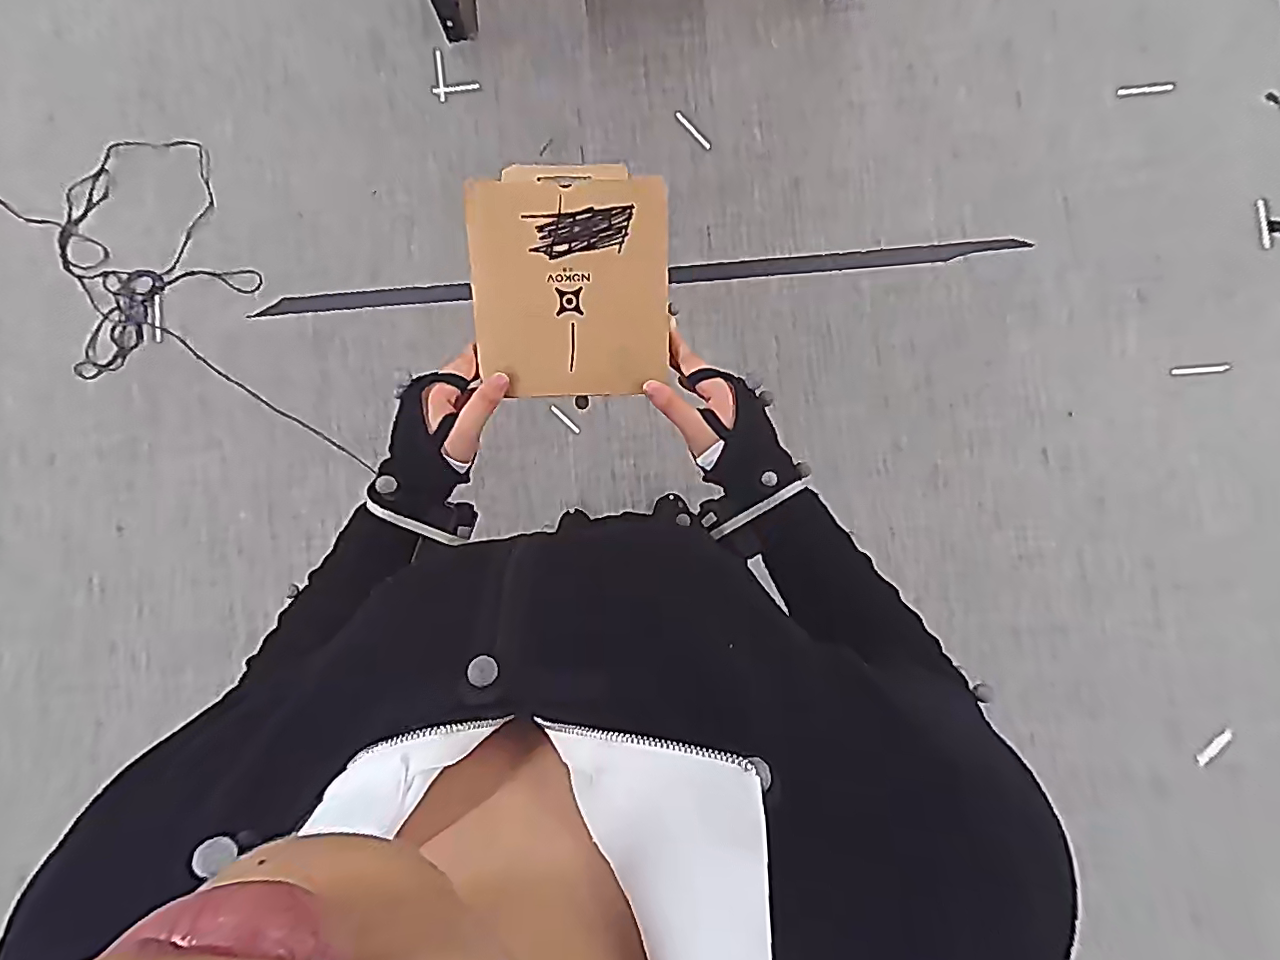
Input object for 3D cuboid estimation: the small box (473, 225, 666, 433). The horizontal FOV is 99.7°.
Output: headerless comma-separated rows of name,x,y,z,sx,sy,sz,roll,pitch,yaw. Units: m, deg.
small box,-0.061,-0.142,0.547,0.168,0.176,0.179,-1,101,-1
